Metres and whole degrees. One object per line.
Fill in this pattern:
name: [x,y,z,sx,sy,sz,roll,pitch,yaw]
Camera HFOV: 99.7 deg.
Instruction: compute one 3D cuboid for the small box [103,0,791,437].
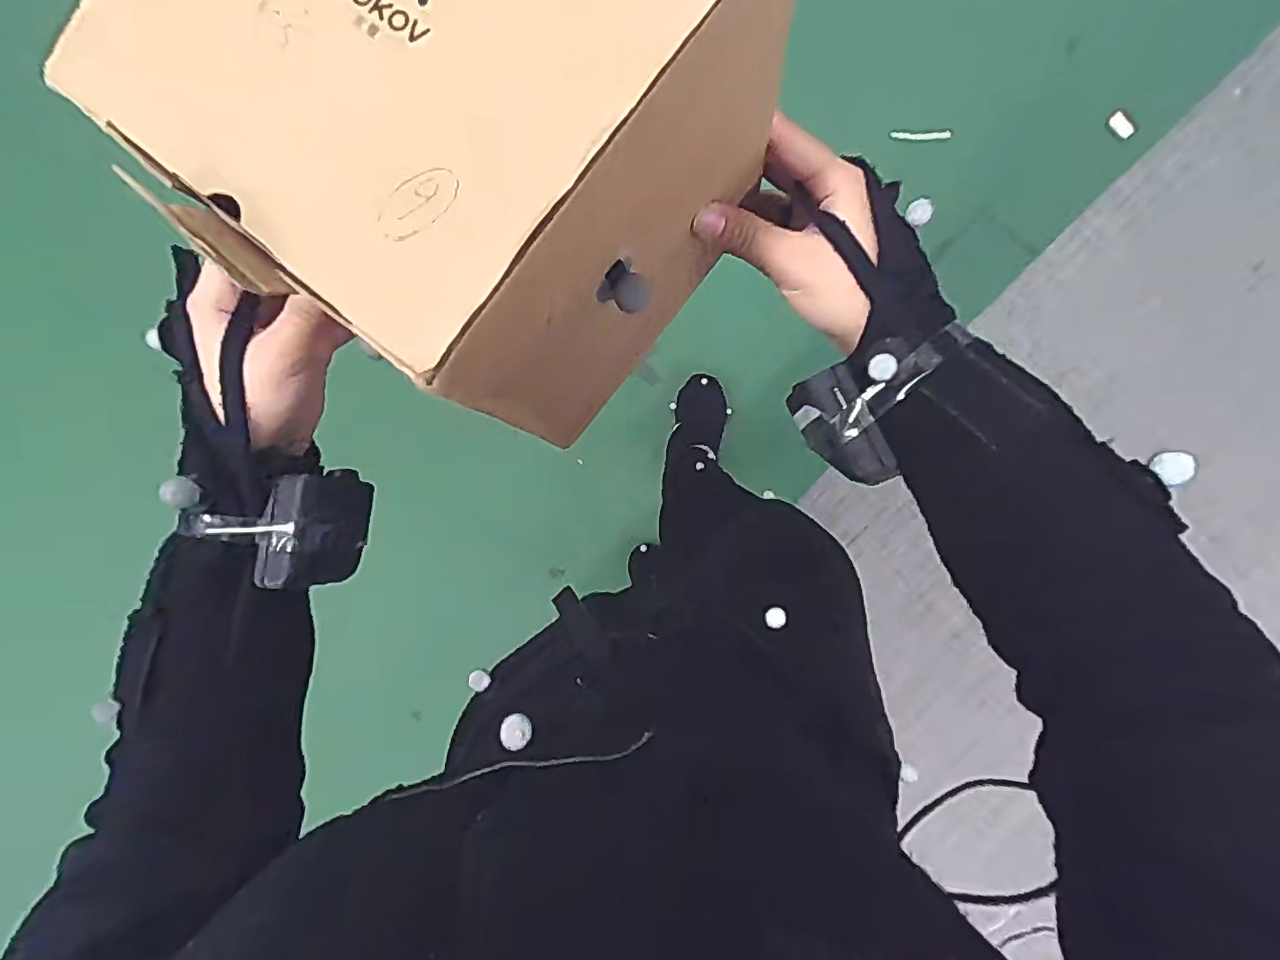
small box: [-0.054,-0.137,0.244,0.168,0.176,0.179,39,92,7]
